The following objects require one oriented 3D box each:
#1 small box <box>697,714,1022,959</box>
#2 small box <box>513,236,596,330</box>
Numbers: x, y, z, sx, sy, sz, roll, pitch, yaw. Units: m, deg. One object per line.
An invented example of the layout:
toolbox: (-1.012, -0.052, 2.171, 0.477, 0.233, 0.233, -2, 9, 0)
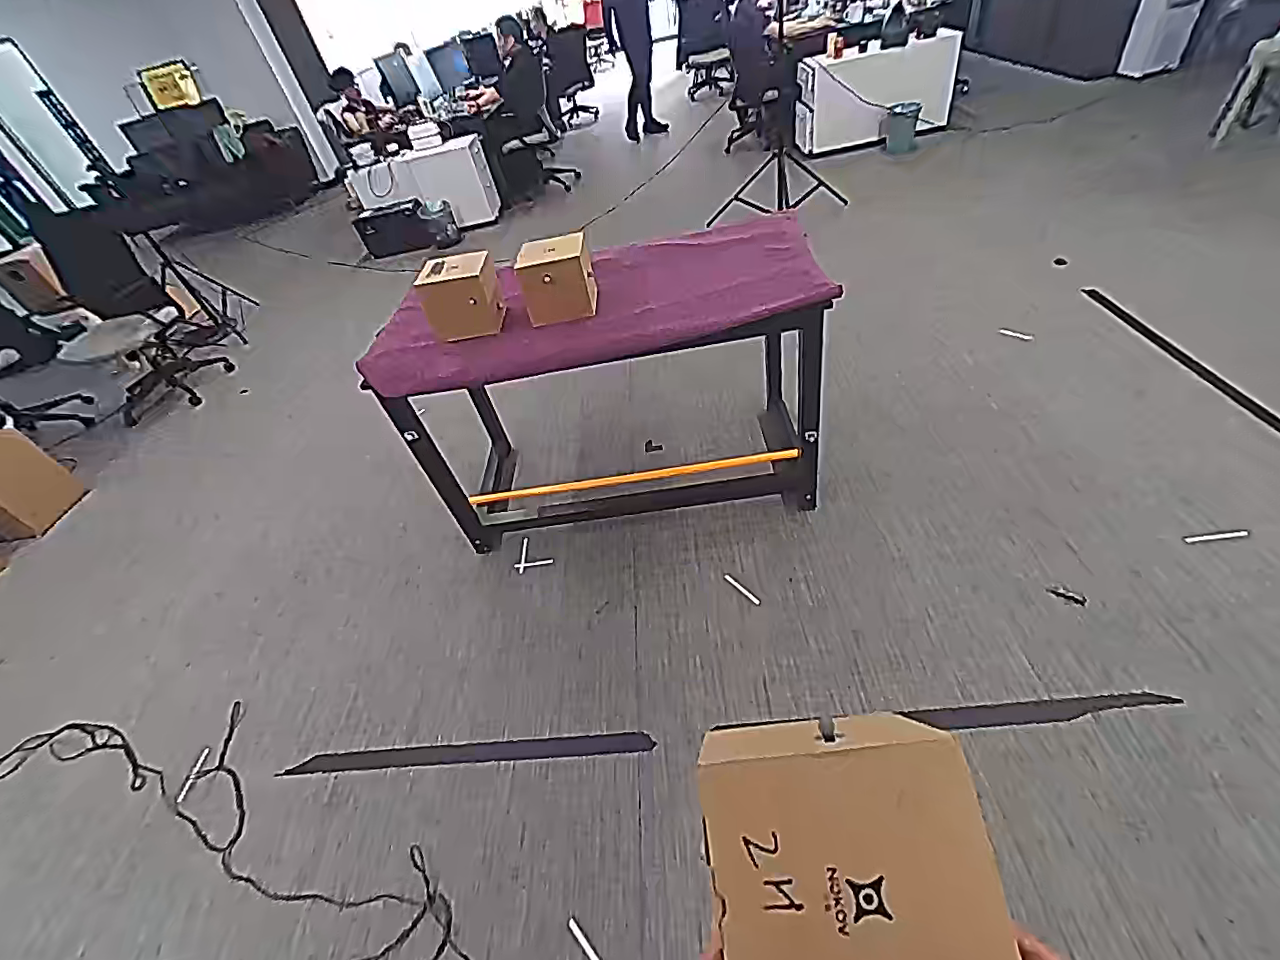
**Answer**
small box: (0.143, 0.279, 0.408, 0.179, 0.176, 0.168, -10, 70, 7)
small box: (-0.222, -0.530, 1.462, 0.179, 0.176, 0.168, -9, 43, 7)
